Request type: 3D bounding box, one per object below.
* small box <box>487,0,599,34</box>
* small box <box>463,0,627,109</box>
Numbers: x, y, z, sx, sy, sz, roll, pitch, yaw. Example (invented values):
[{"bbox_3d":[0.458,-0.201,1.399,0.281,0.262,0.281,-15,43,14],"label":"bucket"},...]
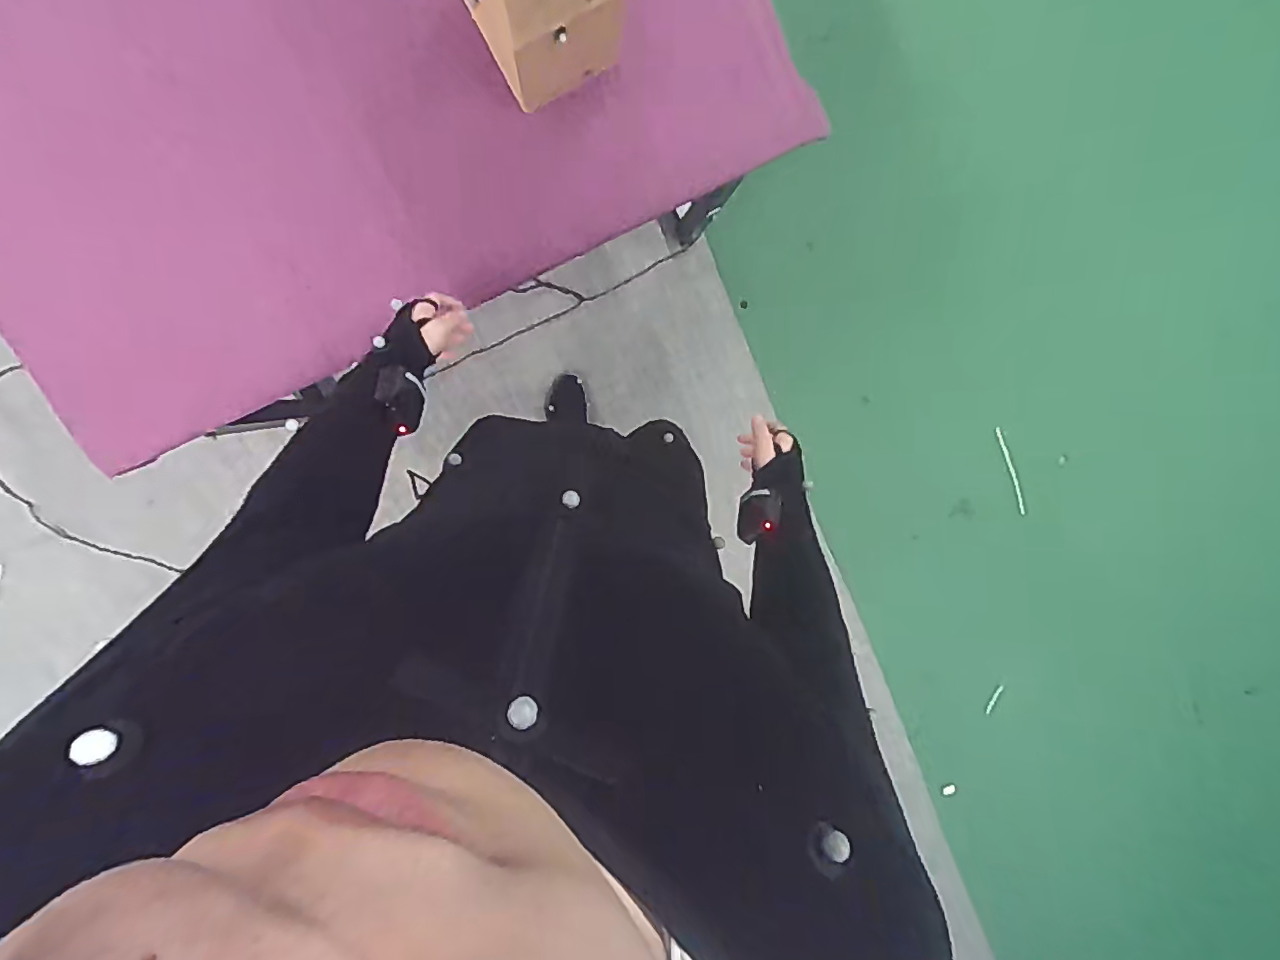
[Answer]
[{"bbox_3d":[-0.107,-0.594,0.531,0.168,0.176,0.179,-29,102,-1],"label":"small box"},{"bbox_3d":[-0.132,-0.630,0.688,0.168,0.176,0.179,-30,101,0],"label":"small box"}]
